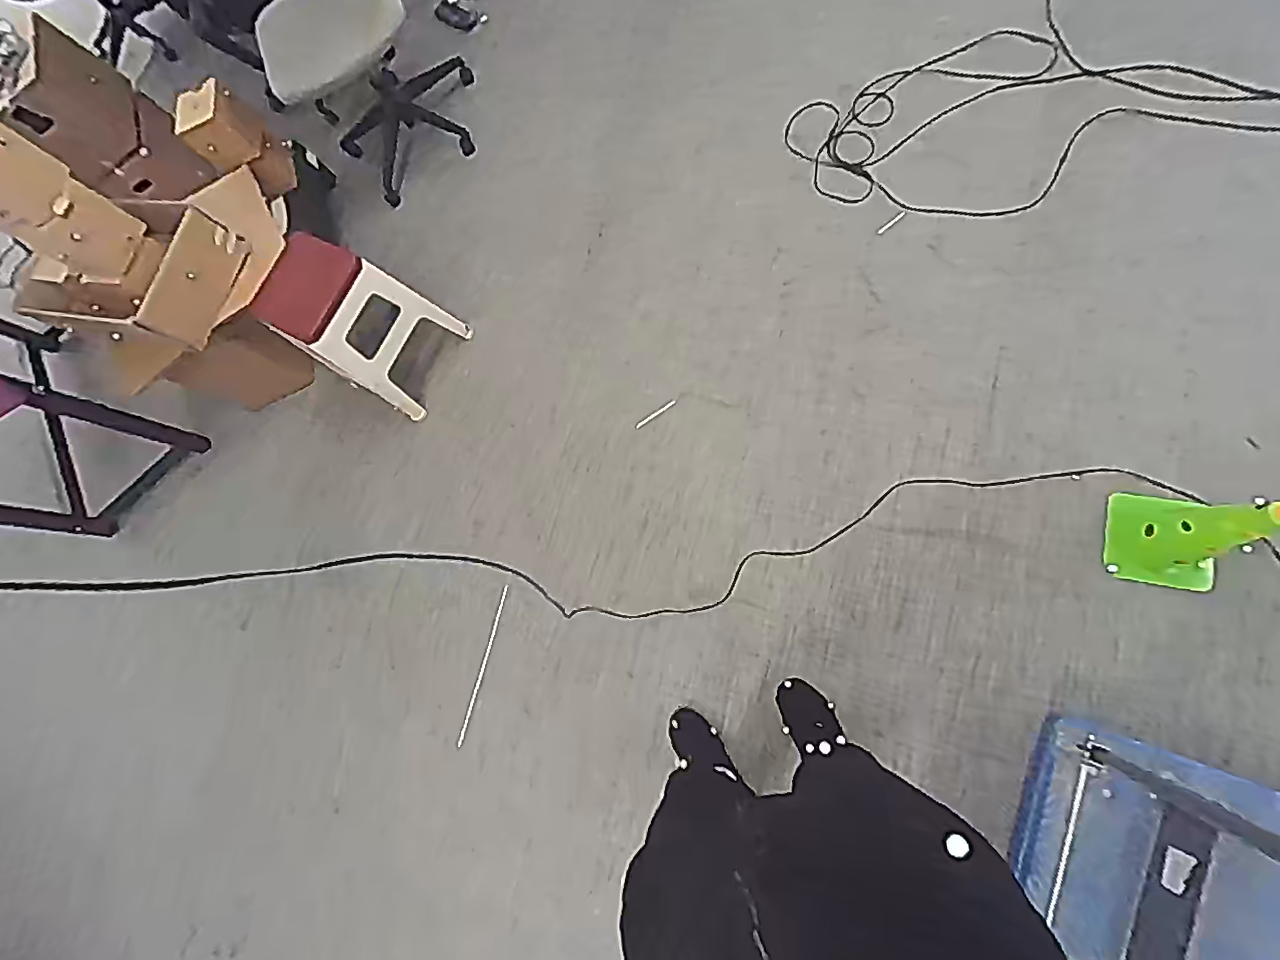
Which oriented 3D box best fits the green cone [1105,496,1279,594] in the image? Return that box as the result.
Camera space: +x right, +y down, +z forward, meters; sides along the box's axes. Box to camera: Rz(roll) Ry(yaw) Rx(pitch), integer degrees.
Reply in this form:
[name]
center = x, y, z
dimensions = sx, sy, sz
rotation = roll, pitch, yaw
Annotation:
[green cone]
center = 1.125, 0.099, 1.056
dimensions = 0.200, 0.368, 0.202
rotation = 9, 78, 18
